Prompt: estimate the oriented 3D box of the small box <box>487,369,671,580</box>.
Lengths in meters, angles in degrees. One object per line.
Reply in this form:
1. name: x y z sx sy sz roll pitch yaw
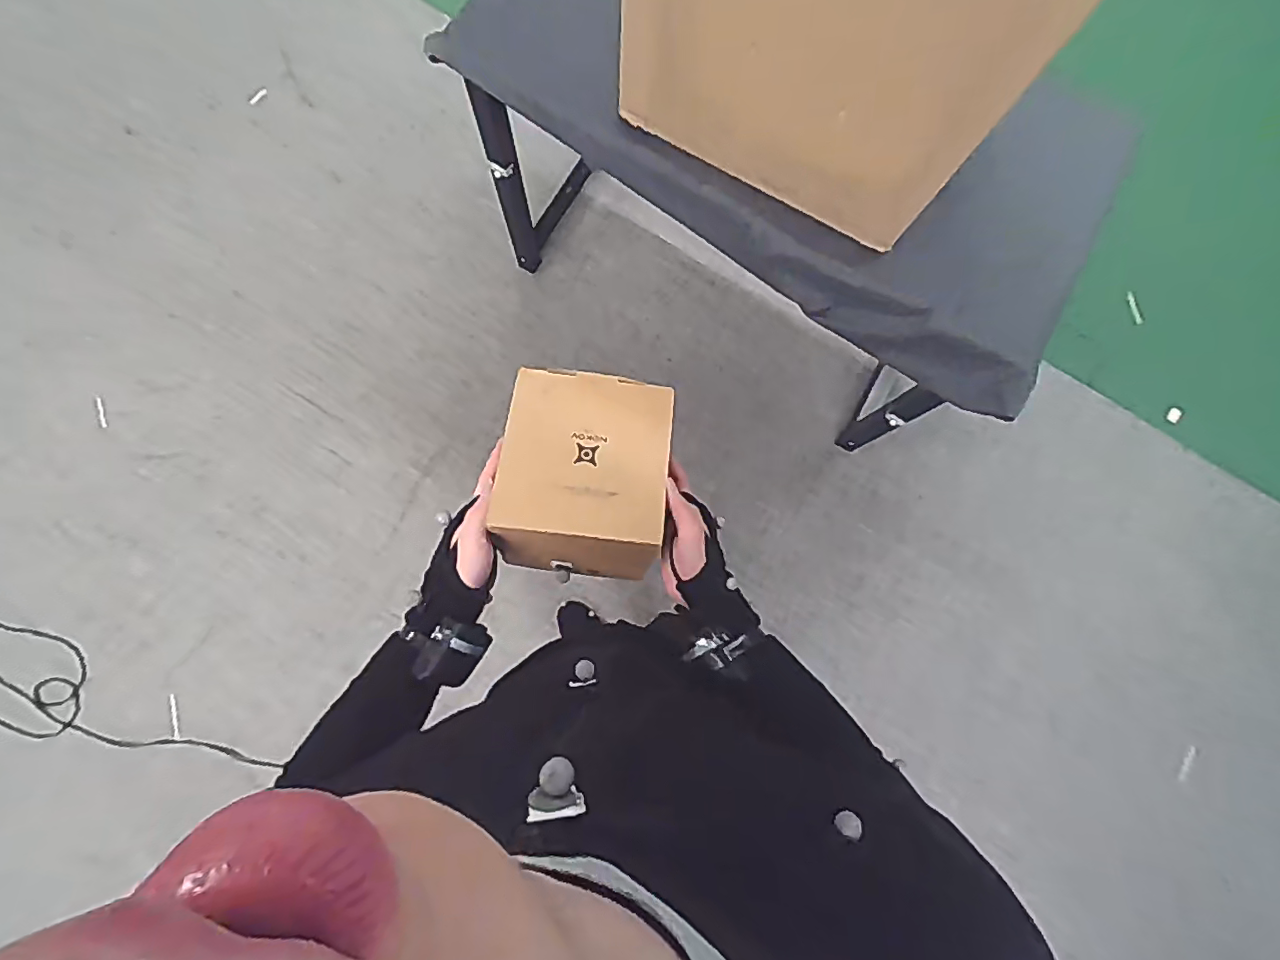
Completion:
1. small box: -0.065 0.003 0.611 0.168 0.176 0.179 7 68 -4
